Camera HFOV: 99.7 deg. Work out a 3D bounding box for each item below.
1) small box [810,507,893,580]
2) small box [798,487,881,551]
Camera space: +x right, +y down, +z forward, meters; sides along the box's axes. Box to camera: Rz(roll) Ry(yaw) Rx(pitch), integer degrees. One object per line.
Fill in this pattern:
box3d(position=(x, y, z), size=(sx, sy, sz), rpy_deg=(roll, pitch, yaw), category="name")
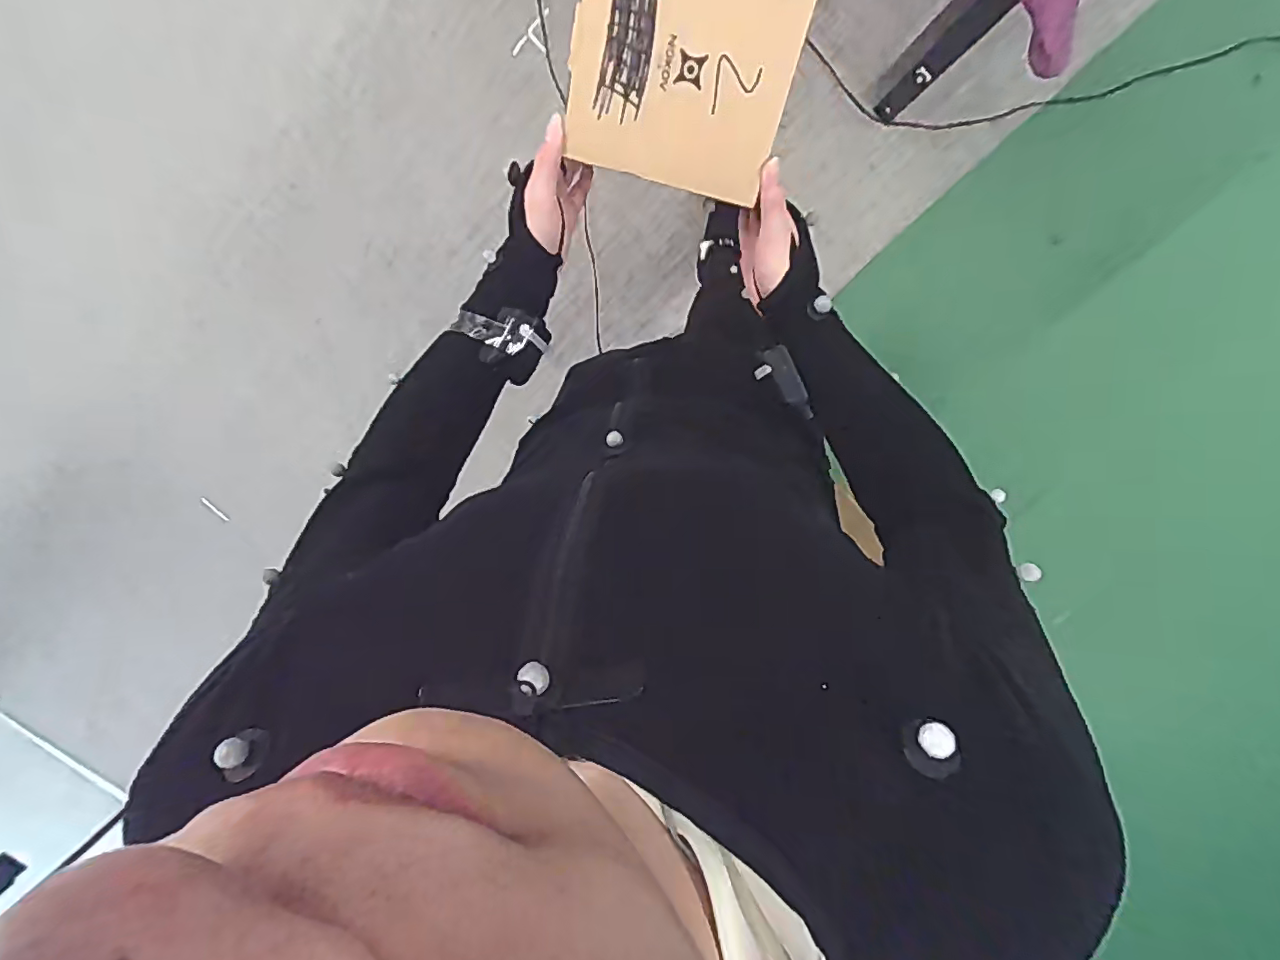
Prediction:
box3d(position=(0.568, 0.202, 1.419), size=(0.168, 0.176, 0.179), rpy_deg=(43, 106, -9), category="small box")
box3d(position=(0.582, 0.152, 1.573), size=(0.168, 0.176, 0.179), rpy_deg=(41, 107, -9), category="small box")
